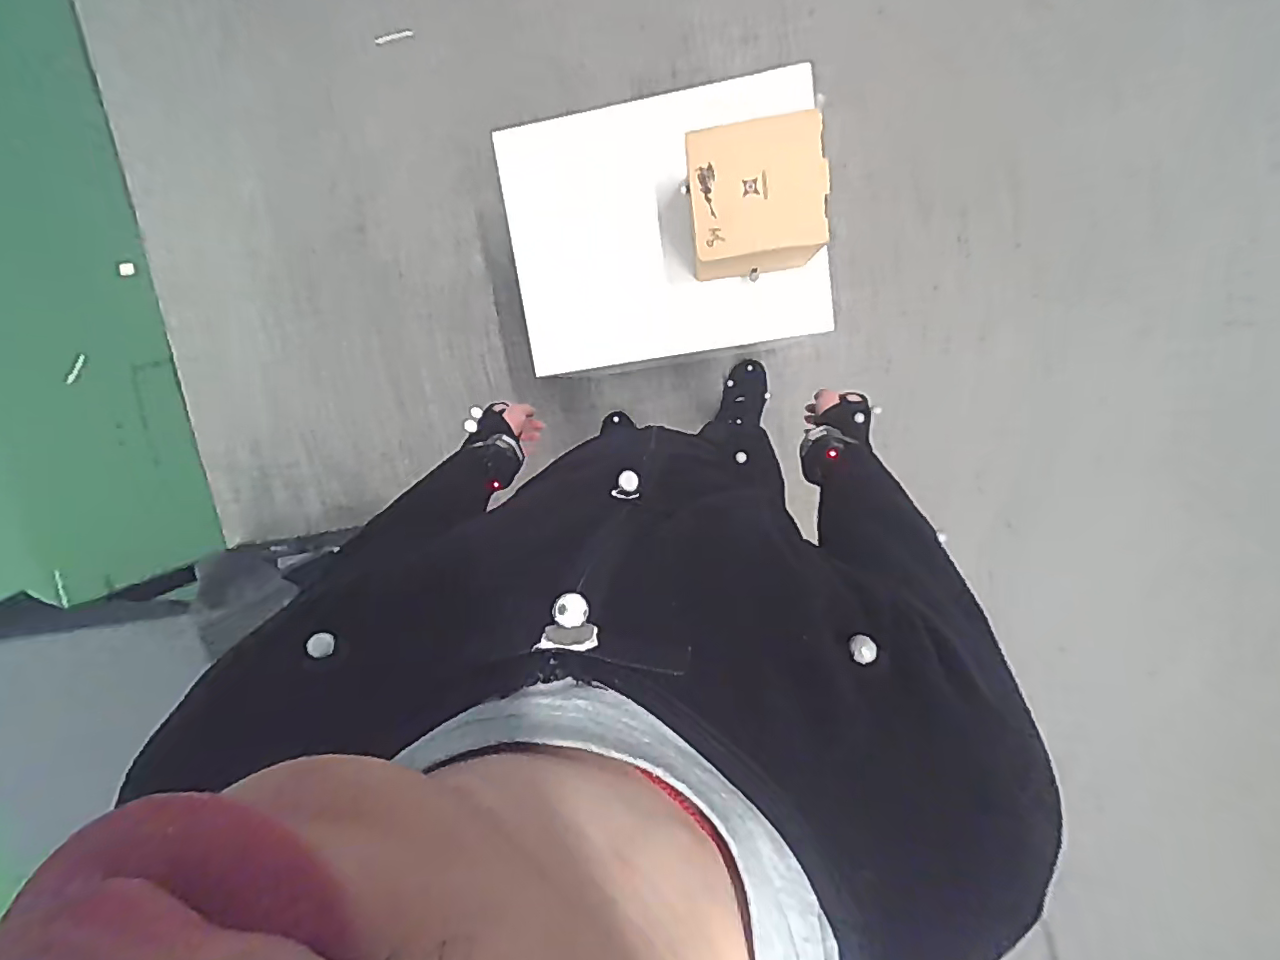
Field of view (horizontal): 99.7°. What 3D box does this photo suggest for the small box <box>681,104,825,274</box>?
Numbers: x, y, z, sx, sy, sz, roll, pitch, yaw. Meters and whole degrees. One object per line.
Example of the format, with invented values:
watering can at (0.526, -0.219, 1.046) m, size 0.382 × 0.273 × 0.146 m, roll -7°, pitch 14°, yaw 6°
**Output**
small box at (0.154, -0.402, 0.778) m, size 0.179 × 0.176 × 0.168 m, roll -6°, pitch 101°, yaw 5°
